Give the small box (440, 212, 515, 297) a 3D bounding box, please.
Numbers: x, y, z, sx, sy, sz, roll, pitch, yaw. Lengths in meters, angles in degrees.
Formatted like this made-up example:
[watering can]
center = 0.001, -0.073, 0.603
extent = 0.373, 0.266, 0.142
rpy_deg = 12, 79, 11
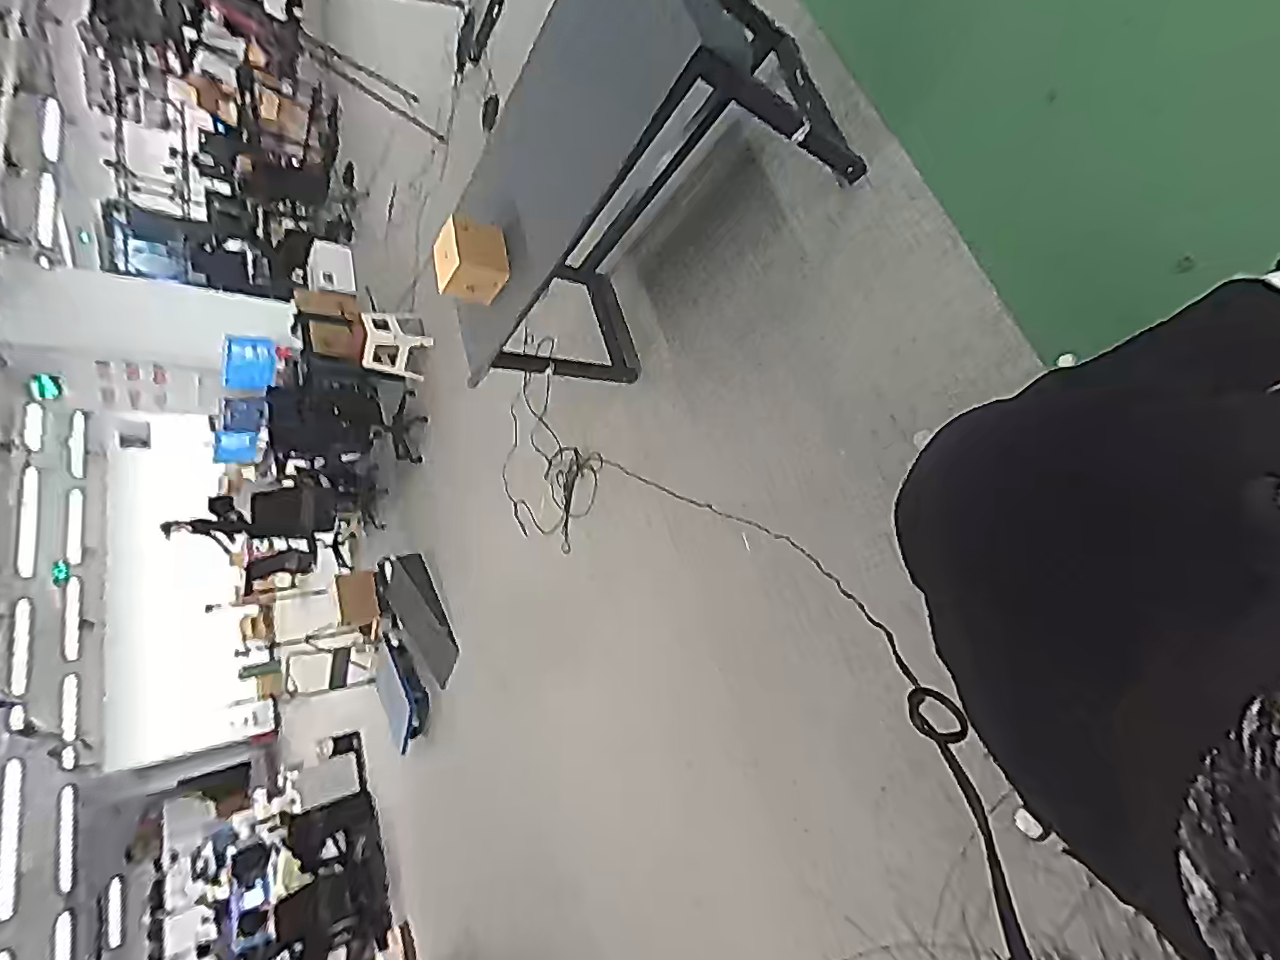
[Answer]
[small box]
center = -0.506, -0.694, 1.691
extent = 0.168, 0.176, 0.179
rpy_deg = -29, 68, 46
